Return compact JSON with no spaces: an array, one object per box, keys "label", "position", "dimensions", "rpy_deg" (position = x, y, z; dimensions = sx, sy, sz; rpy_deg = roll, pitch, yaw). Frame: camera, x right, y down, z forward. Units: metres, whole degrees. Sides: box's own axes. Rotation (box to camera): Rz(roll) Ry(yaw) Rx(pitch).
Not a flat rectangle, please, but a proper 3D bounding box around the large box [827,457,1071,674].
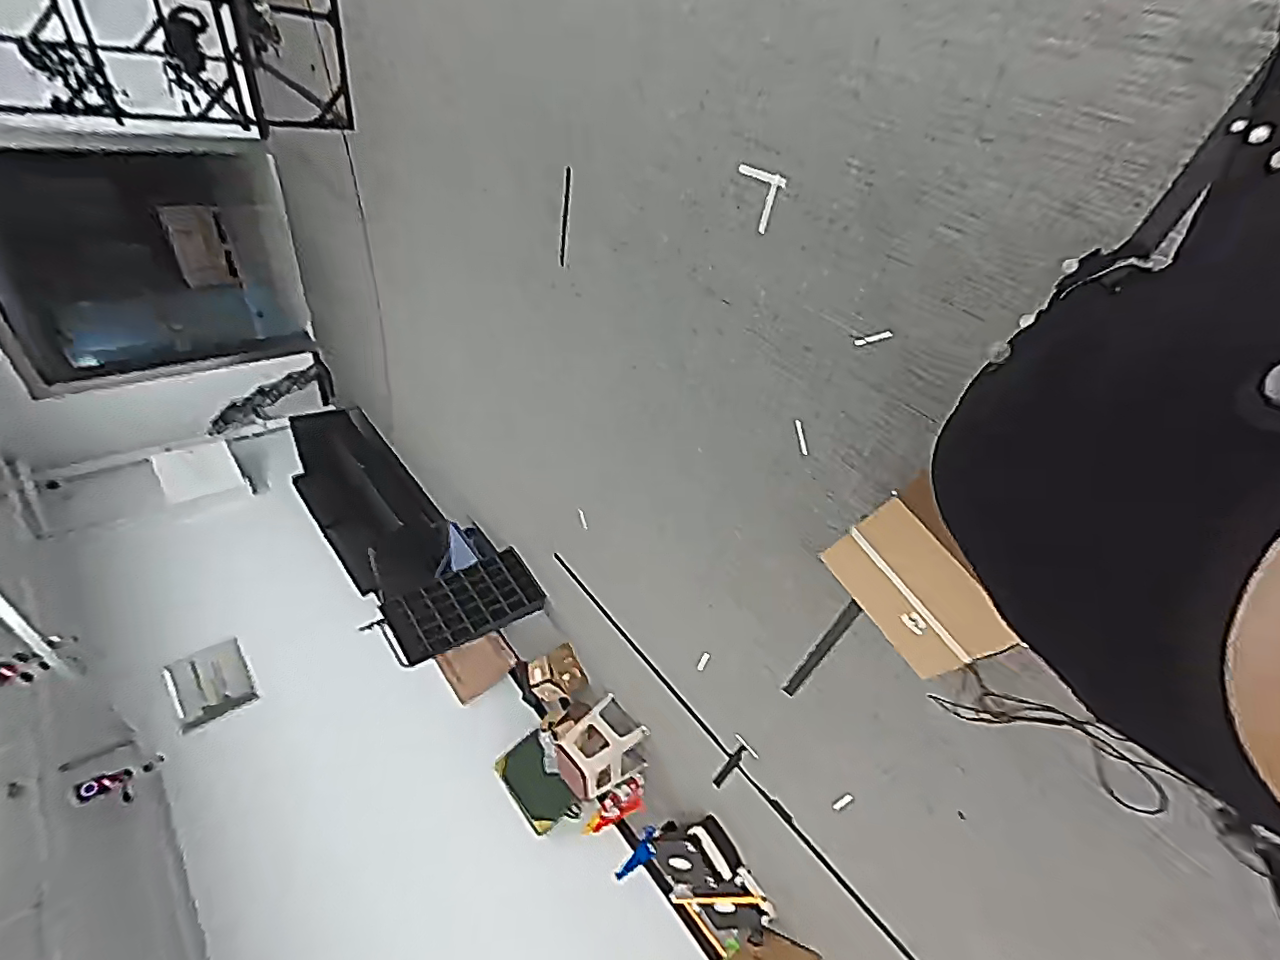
[{"label":"large box","position":[0.791,0.212,1.411],"dimensions":[0.408,0.320,0.320],"rpy_deg":[52,142,18]}]
